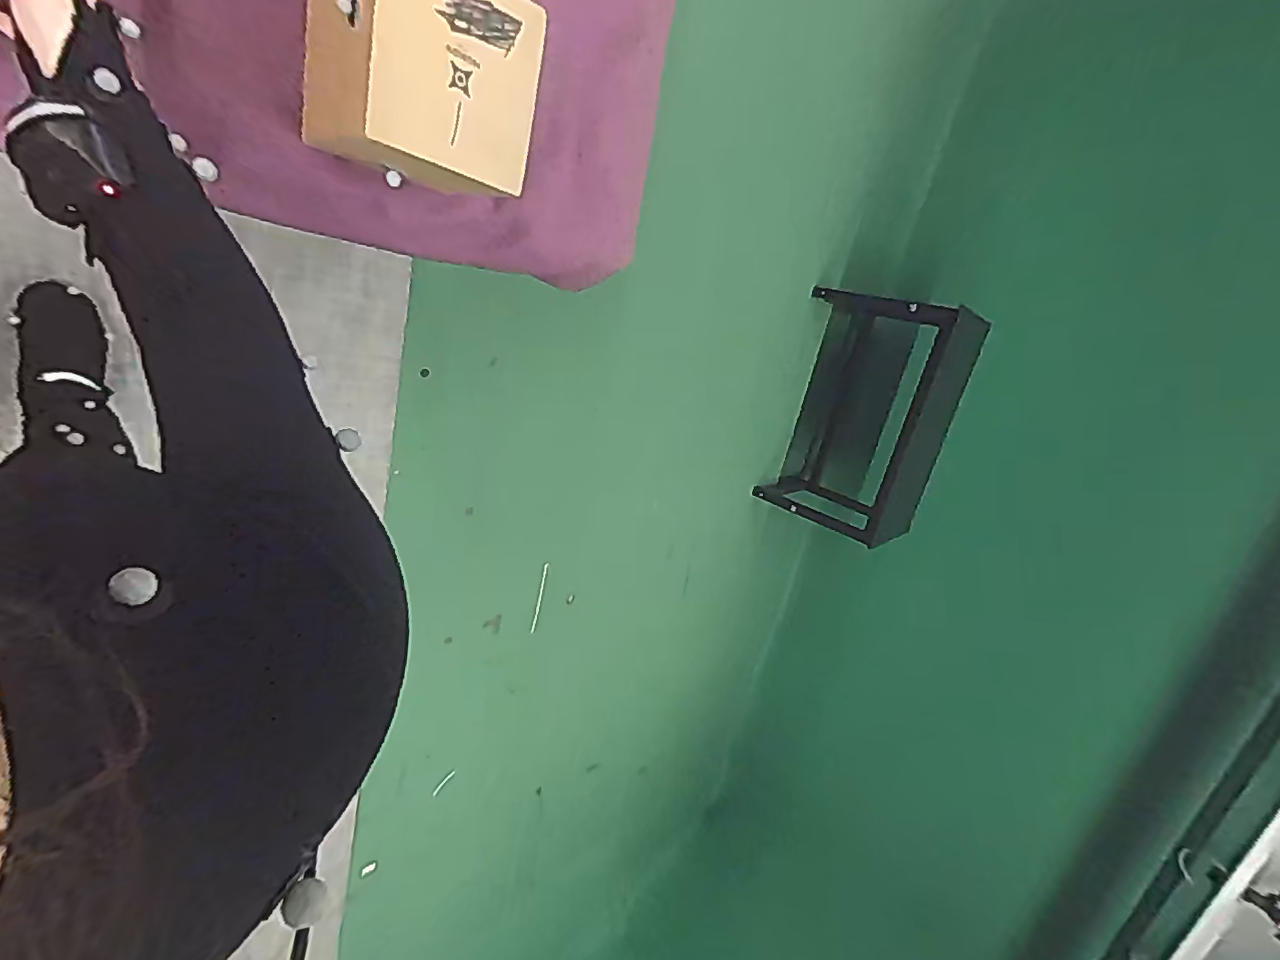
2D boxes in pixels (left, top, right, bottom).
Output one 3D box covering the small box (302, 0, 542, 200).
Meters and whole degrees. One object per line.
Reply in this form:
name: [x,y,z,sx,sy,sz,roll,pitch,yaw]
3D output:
small box: [-0.228,-0.410,0.557,0.168,0.176,0.179,-5,114,-48]
